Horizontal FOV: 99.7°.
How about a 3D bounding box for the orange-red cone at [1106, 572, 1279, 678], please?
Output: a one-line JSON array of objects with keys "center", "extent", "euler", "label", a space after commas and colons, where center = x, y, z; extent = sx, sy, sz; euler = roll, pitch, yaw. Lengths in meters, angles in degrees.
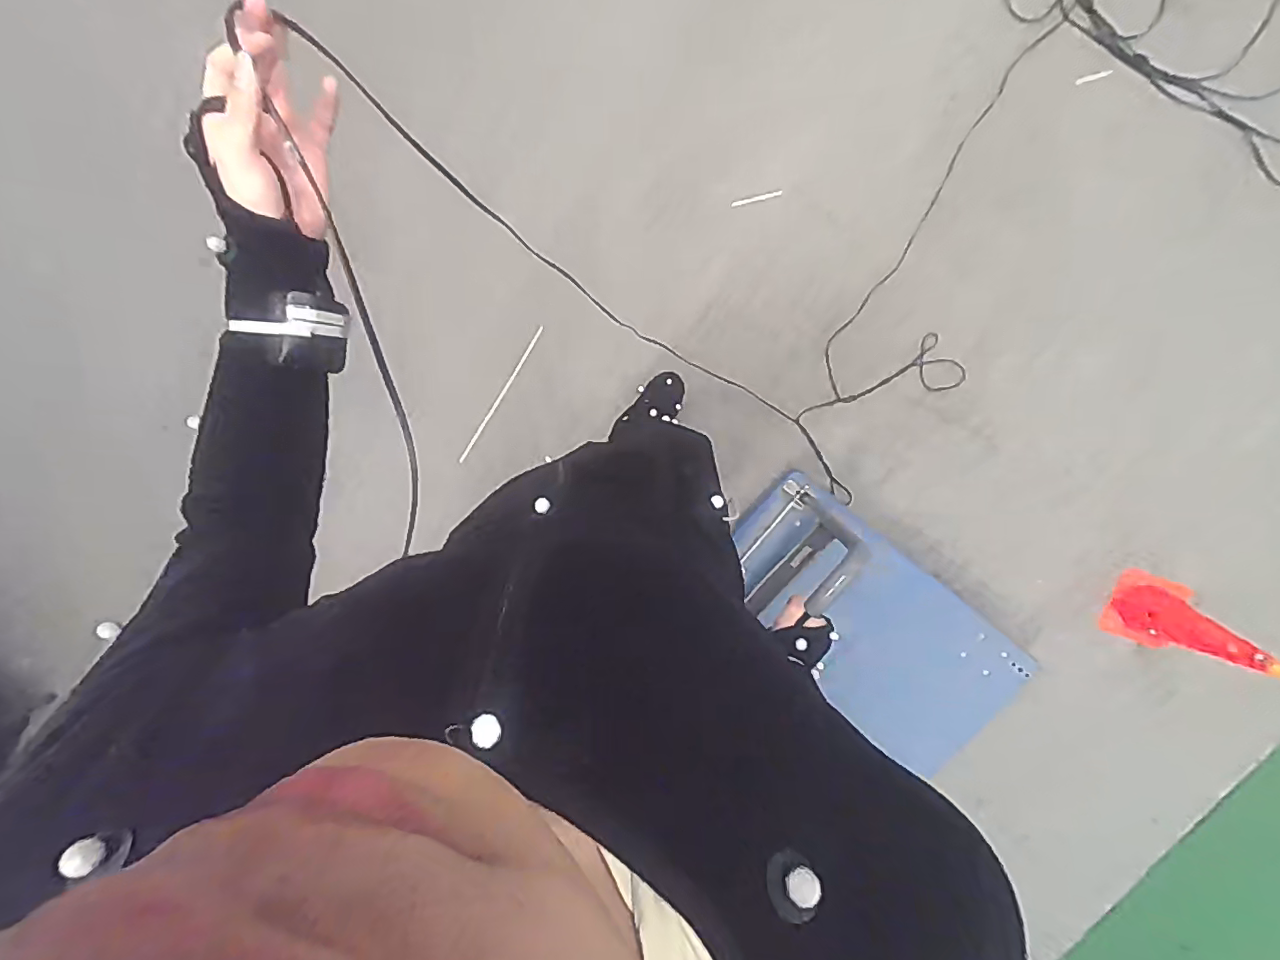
[{"center": [1.465, 0.404, 1.396], "extent": [0.198, 0.360, 0.199], "euler": [20, 98, 0], "label": "orange-red cone"}]
